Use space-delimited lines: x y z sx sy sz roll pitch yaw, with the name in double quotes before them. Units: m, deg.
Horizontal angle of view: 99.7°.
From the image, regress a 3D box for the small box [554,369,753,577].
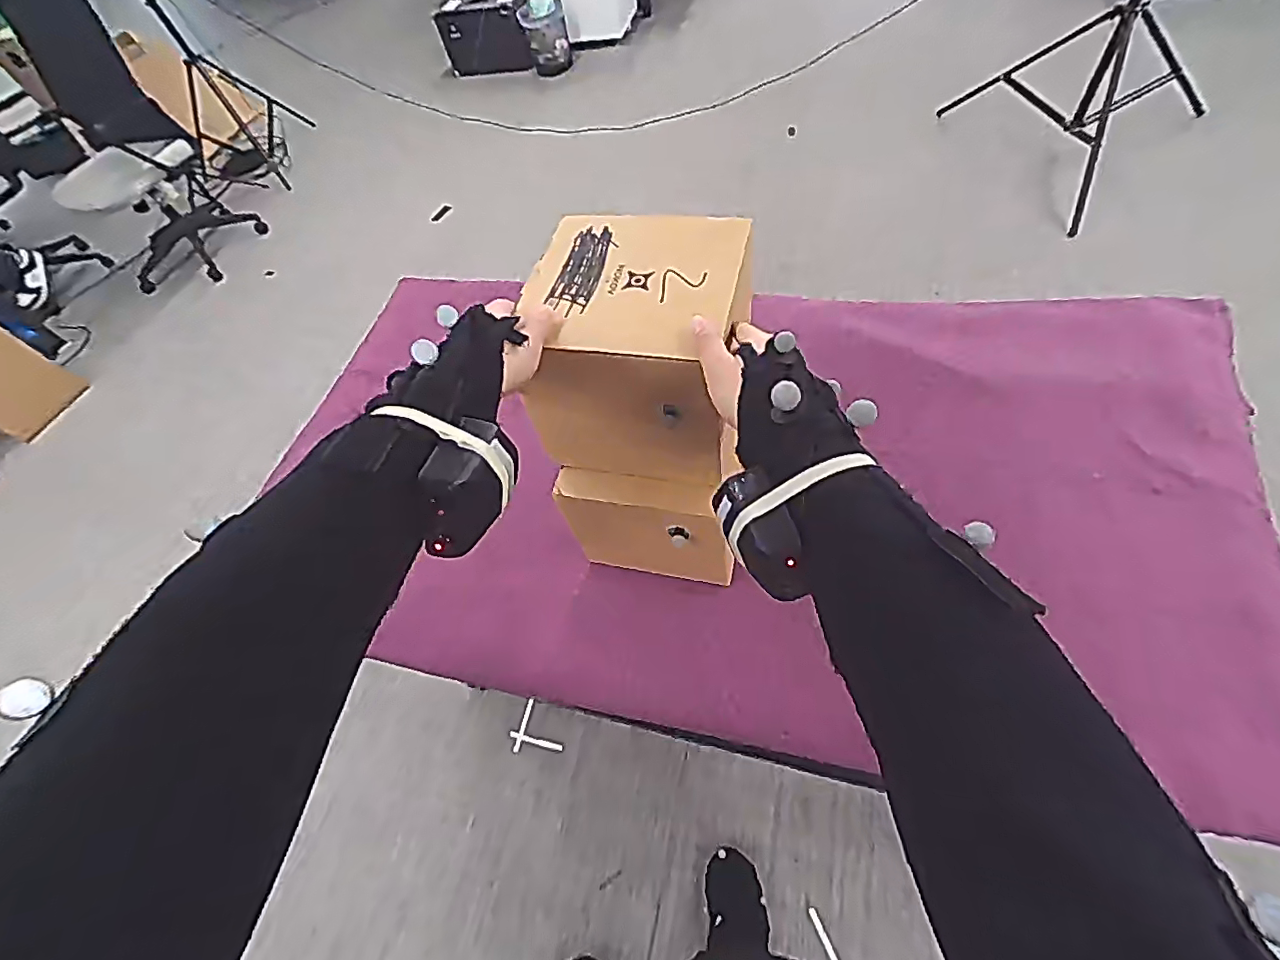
"small box" 0.029 -0.003 0.619 0.179 0.176 0.168 8 59 15
